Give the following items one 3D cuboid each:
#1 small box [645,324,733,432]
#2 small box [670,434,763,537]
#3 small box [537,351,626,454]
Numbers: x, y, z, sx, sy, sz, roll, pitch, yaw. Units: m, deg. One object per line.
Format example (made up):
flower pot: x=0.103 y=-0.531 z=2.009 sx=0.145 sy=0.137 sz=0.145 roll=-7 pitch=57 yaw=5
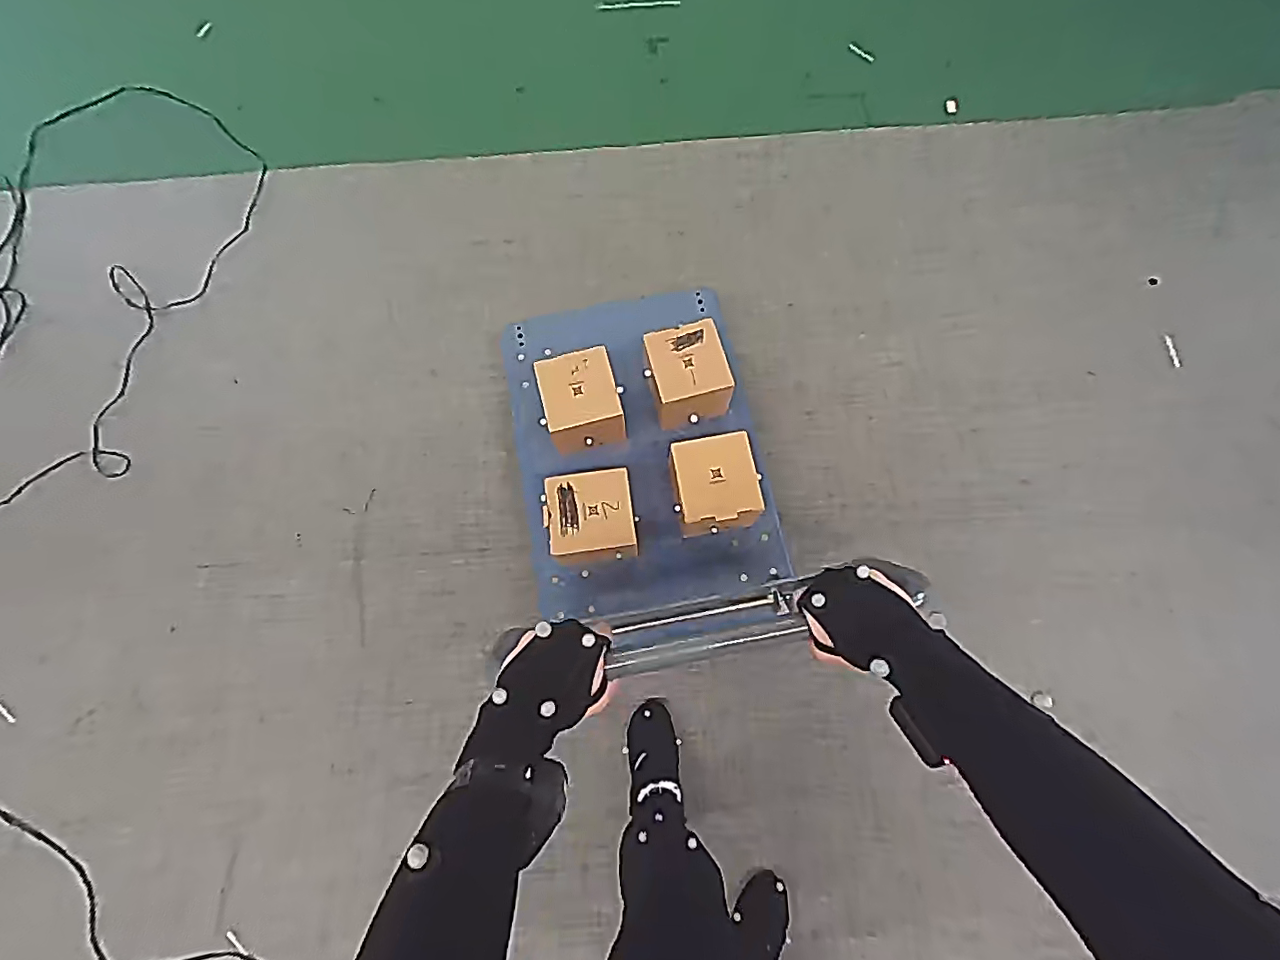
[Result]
small box: x=0.111 y=-0.238 z=1.290 sx=0.168 sy=0.176 sz=0.179 roll=-15 pitch=75 yaw=-2
small box: x=0.164 y=0.018 z=1.217 sx=0.168 sy=0.176 sz=0.179 roll=-10 pitch=74 yaw=-2
small box: x=-0.132 y=-0.173 z=1.278 sx=0.168 sy=0.176 sz=0.179 roll=-14 pitch=74 yaw=-3
